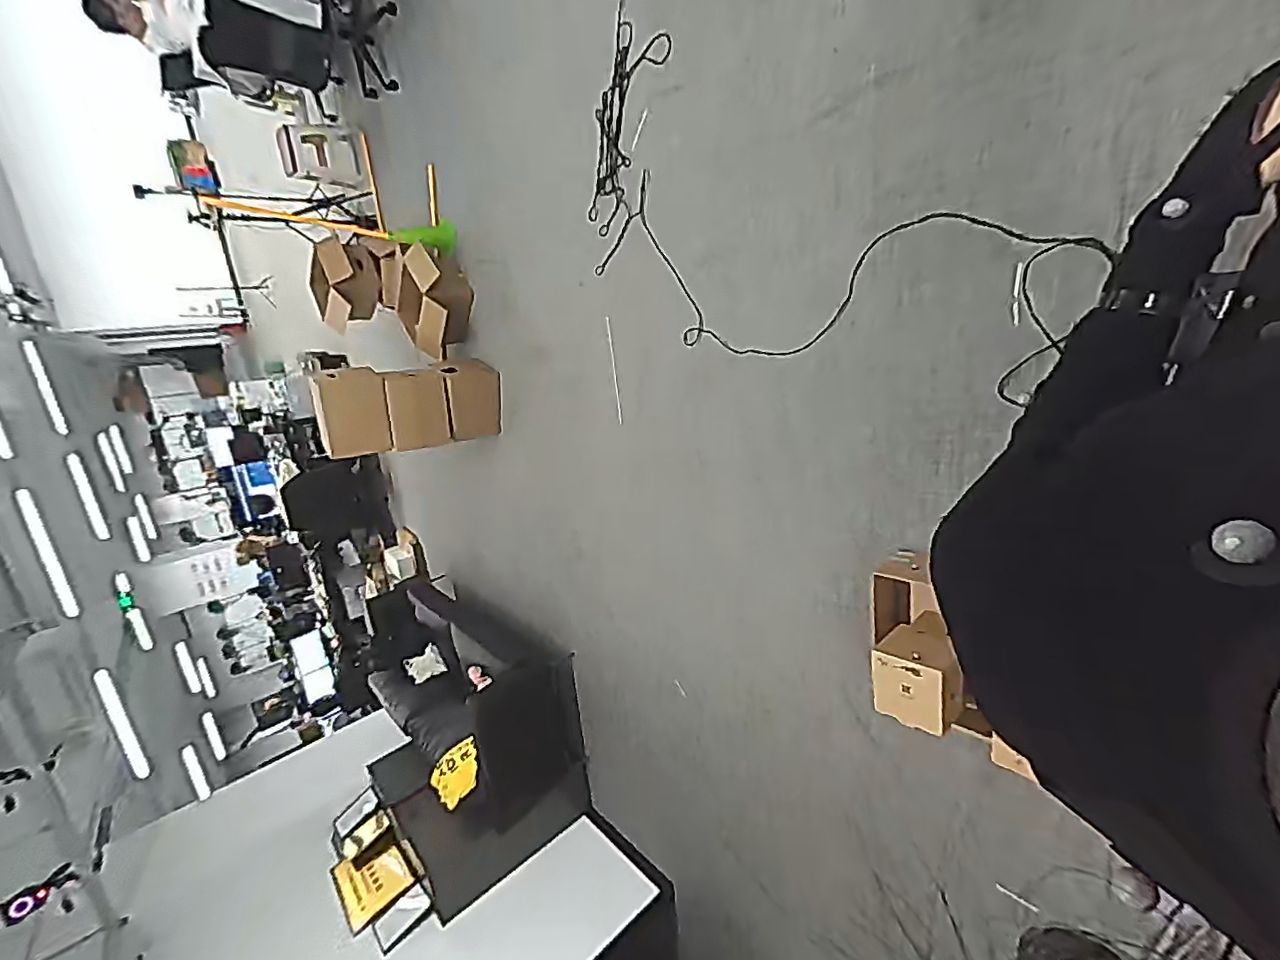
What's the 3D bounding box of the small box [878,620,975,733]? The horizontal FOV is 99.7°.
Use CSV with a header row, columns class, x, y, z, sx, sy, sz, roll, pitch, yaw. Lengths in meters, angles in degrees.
class,x,y,z,sx,sy,sz,roll,pitch,yaw
small box,0.716,0.480,1.348,0.168,0.176,0.179,7,110,49
